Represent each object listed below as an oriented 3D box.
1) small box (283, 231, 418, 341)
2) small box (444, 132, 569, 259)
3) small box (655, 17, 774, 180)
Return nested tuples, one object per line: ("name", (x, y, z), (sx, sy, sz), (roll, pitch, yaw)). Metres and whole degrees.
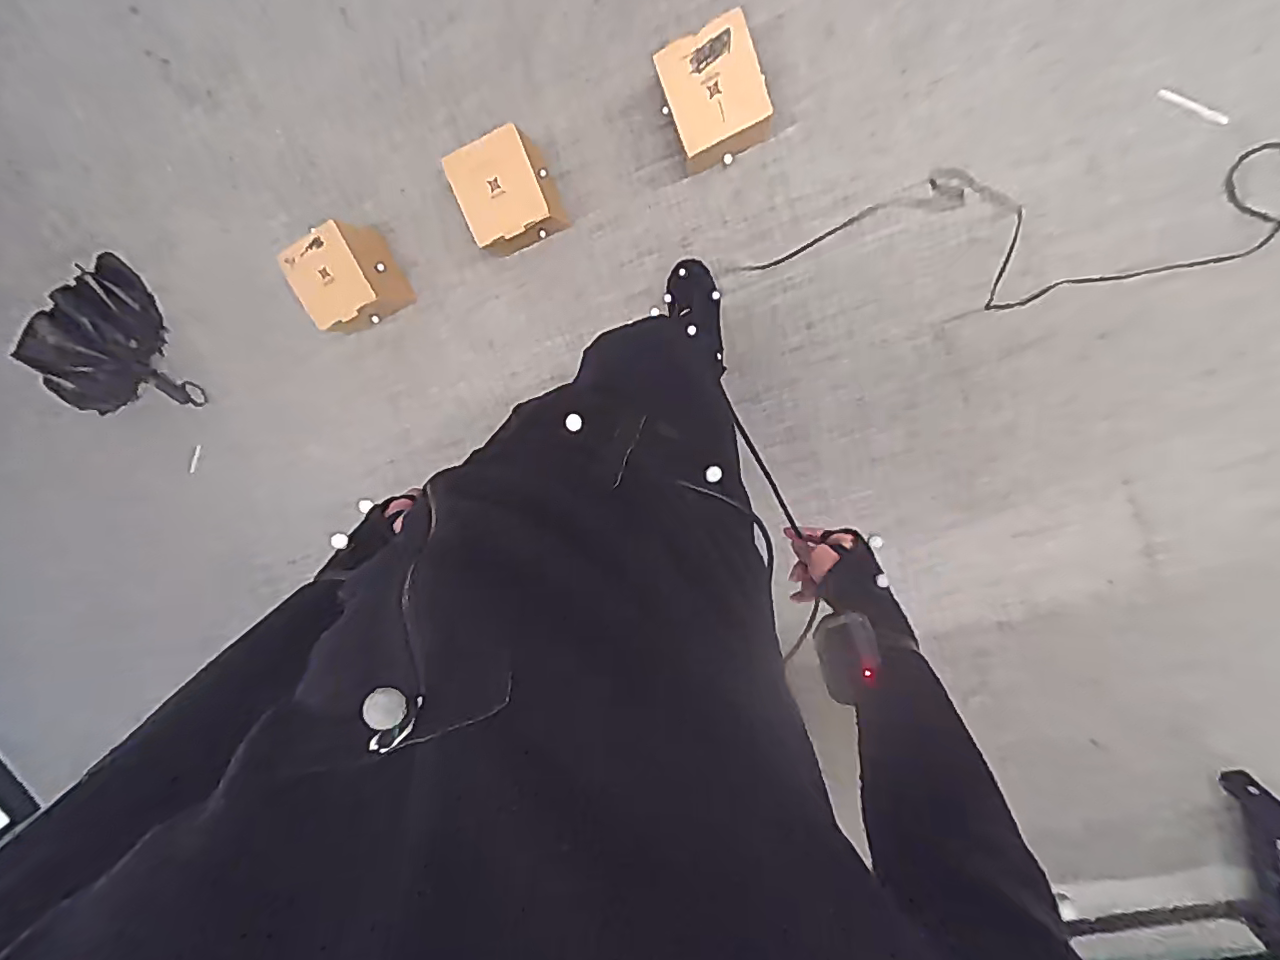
("small box", (-0.646, -0.438, 1.231), (0.168, 0.176, 0.179), (-24, 103, 14))
("small box", (-0.267, -0.579, 1.133), (0.168, 0.176, 0.179), (-20, 103, 13))
("small box", (0.142, -0.707, 1.028), (0.168, 0.176, 0.179), (-20, 104, 15))
